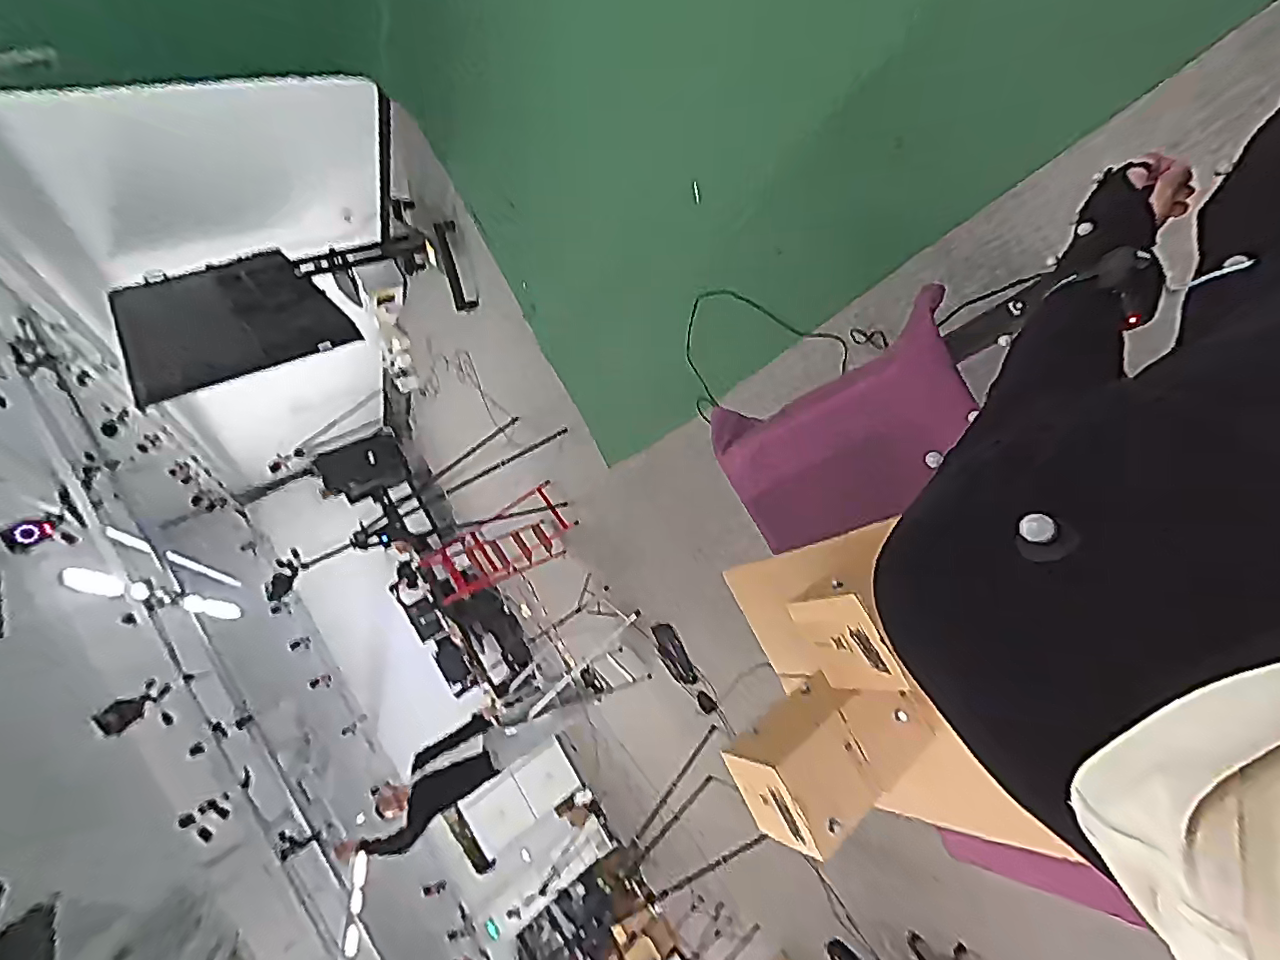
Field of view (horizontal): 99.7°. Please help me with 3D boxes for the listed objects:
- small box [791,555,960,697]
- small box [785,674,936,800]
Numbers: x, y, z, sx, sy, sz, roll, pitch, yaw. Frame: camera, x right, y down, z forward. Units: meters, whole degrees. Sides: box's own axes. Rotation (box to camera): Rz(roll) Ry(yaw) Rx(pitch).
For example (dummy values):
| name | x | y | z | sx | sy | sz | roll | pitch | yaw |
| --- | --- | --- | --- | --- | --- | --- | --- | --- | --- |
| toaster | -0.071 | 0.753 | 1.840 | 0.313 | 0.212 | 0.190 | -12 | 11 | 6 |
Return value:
| name | x | y | z | sx | sy | sz | roll | pitch | yaw |
| --- | --- | --- | --- | --- | --- | --- | --- | --- | --- |
| small box | 0.401 | 0.242 | 0.912 | 0.168 | 0.176 | 0.179 | 61 | 151 | 5 |
| small box | 0.427 | 0.476 | 1.051 | 0.168 | 0.176 | 0.179 | 62 | 150 | 5 |
